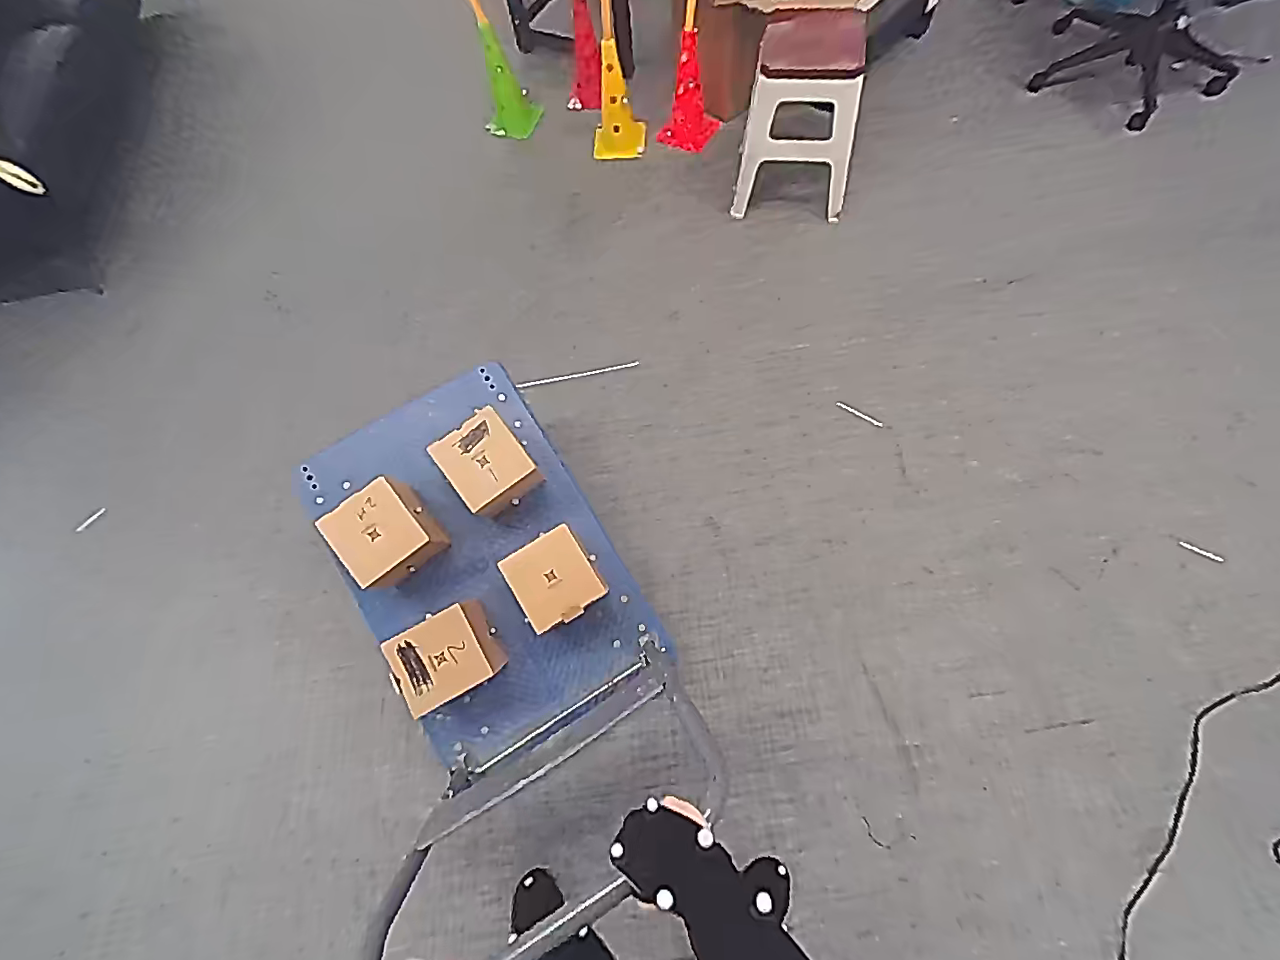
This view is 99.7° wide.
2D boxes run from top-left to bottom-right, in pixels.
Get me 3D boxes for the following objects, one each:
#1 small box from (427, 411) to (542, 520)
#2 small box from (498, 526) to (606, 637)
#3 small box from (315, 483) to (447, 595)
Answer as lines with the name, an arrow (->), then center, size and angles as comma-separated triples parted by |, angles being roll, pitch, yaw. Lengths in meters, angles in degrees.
small box -> -0.344, -0.024, 1.229 | 0.168, 0.176, 0.179 | -37, 85, -8
small box -> -0.189, 0.223, 1.199 | 0.168, 0.176, 0.179 | -32, 85, -8
small box -> -0.557, 0.130, 1.190 | 0.168, 0.176, 0.179 | -38, 85, -9
